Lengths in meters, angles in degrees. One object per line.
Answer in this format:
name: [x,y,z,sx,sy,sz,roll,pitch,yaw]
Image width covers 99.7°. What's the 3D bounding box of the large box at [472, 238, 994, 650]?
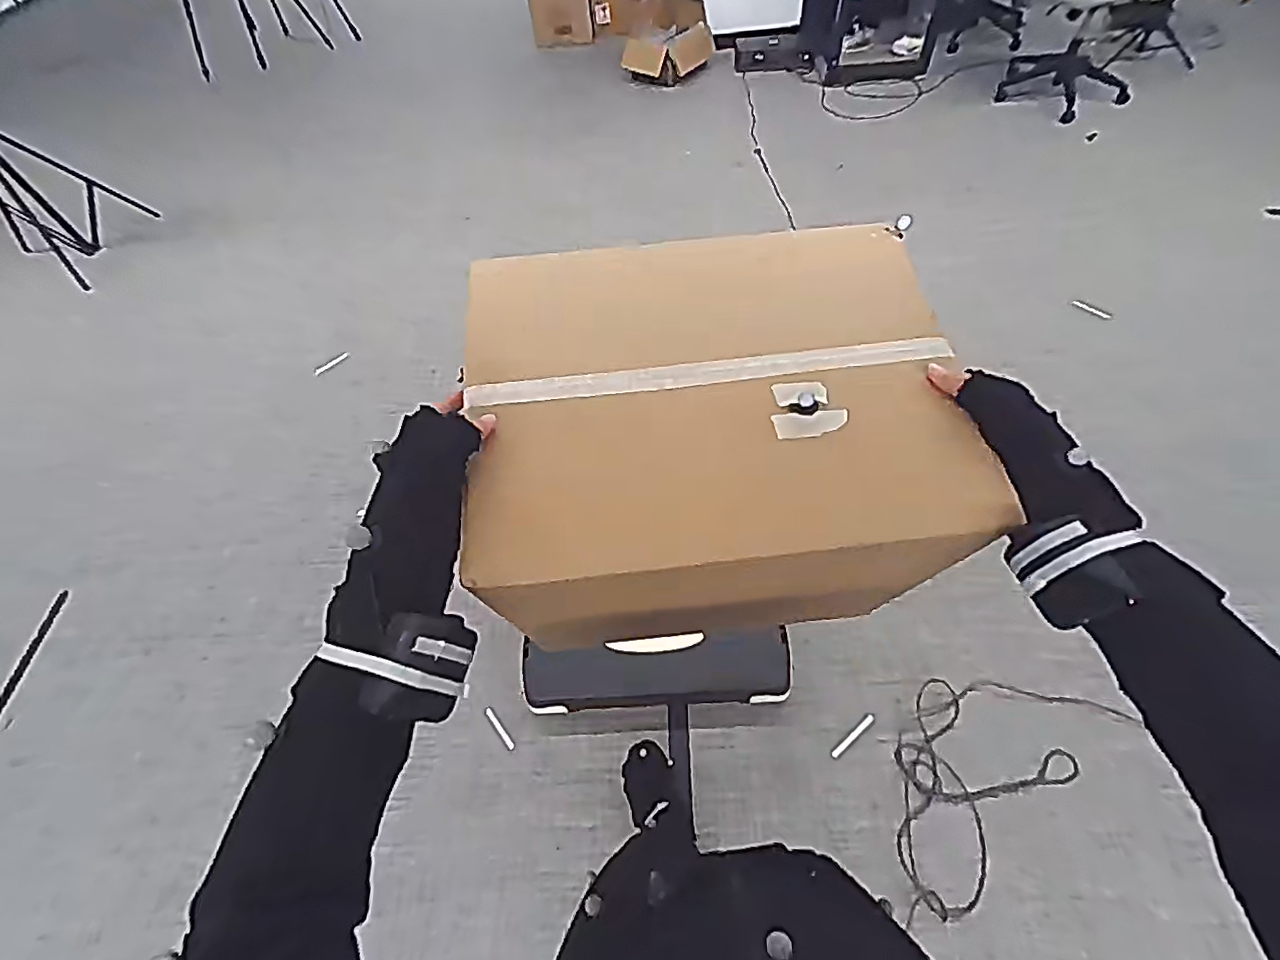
large box: [0.056,-0.017,0.597,0.408,0.320,0.320,-6,65,-2]
